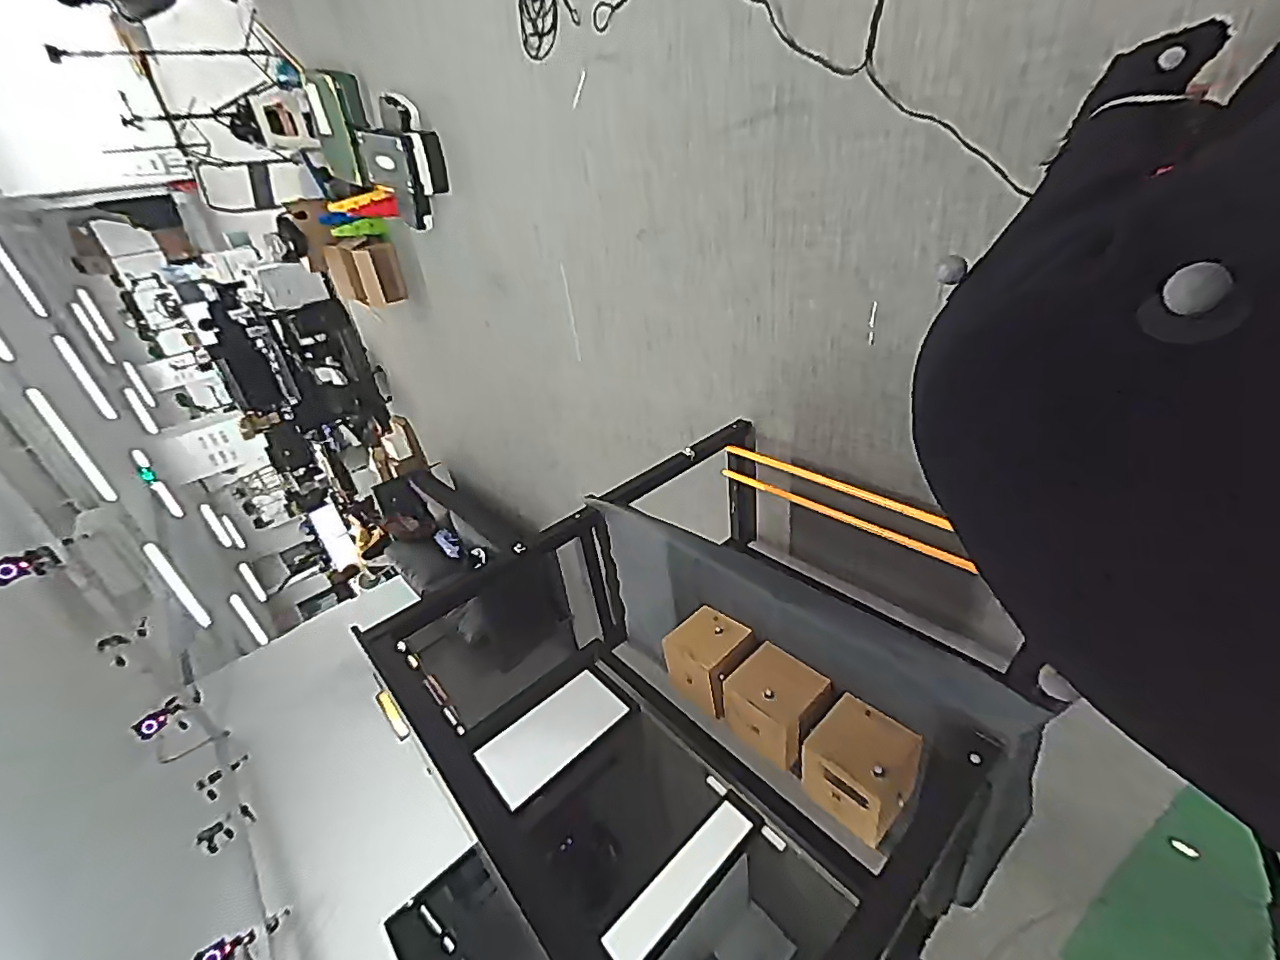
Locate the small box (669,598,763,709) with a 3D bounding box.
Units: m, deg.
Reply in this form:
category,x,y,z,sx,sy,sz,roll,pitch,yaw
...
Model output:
category,x,y,z,sx,sy,sz,roll,pitch,yaw
small box,0.202,0.441,1.397,0.168,0.176,0.179,19,130,47
